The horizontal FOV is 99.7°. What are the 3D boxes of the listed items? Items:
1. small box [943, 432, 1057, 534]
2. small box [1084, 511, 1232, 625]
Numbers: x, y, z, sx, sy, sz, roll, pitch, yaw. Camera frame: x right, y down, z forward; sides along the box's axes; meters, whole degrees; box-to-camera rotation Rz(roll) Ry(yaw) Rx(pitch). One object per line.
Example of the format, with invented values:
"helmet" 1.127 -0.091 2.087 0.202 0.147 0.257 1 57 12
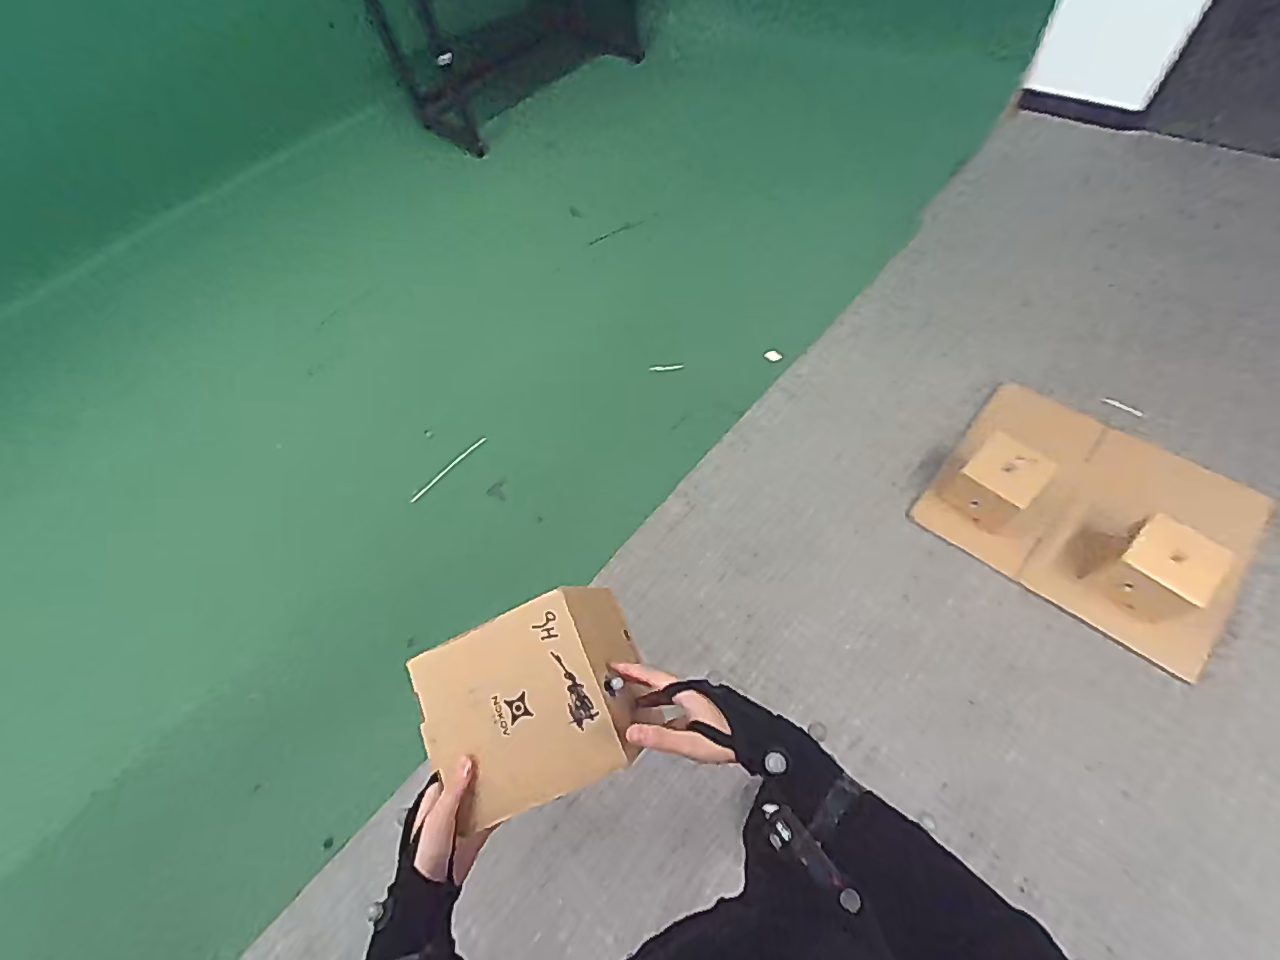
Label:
"small box" 0.943 0.013 1.439 0.179 0.176 0.168 -41 64 -15
"small box" 1.213 0.214 1.283 0.179 0.176 0.168 -42 64 -17
